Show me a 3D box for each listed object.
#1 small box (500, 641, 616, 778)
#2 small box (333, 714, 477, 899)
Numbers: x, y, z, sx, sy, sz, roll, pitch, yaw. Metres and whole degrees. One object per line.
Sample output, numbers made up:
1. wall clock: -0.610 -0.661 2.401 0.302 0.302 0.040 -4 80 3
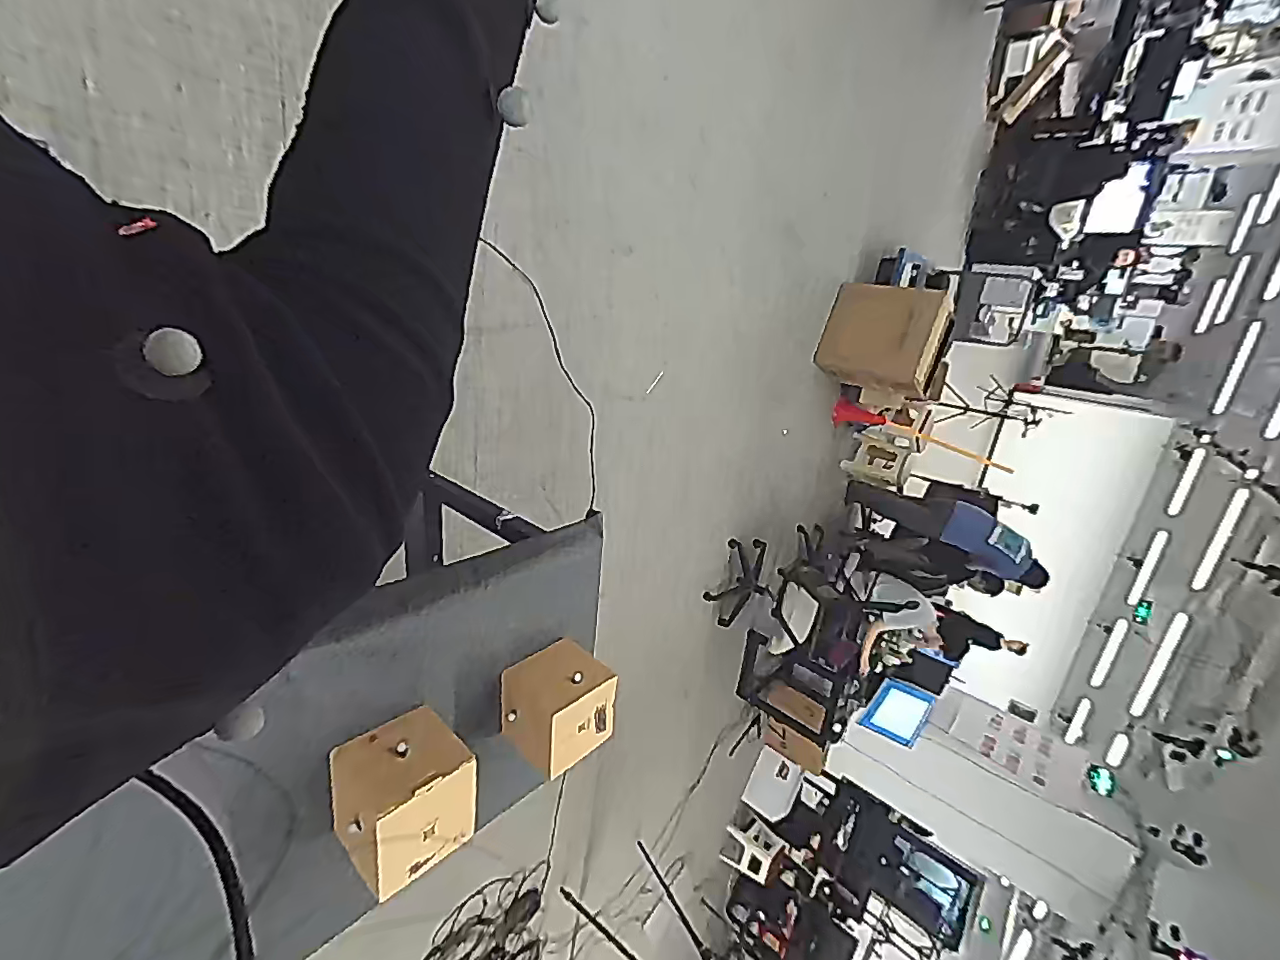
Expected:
1. small box: -0.174 0.472 1.146 0.179 0.176 0.168 -17 119 -45
2. small box: -0.391 0.522 0.900 0.168 0.176 0.179 -14 117 -48
